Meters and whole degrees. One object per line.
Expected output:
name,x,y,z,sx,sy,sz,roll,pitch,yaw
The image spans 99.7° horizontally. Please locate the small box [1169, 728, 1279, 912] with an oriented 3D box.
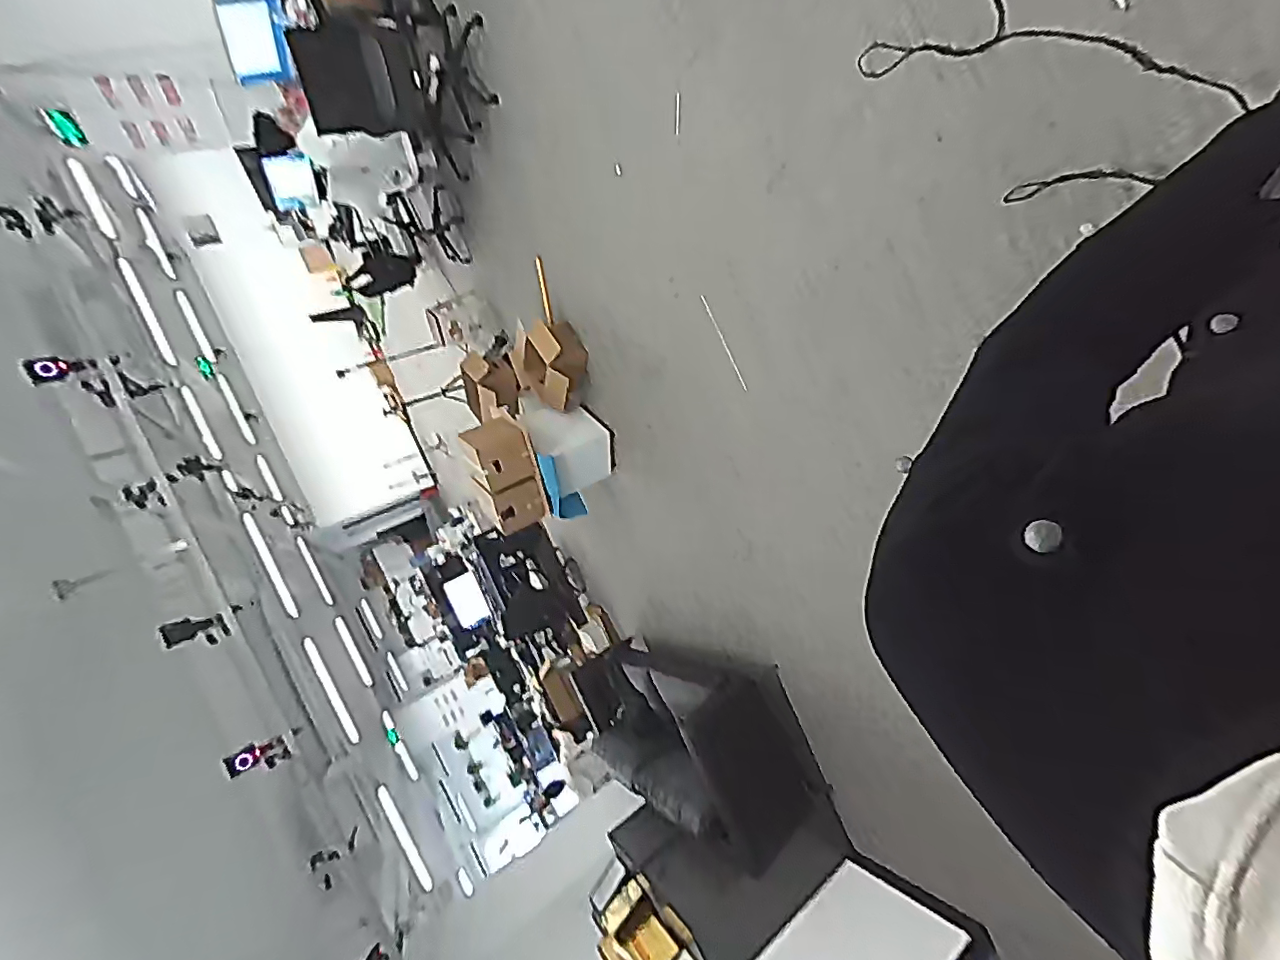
small box,0.982,0.537,0.852,0.168,0.176,0.179,1,113,60
